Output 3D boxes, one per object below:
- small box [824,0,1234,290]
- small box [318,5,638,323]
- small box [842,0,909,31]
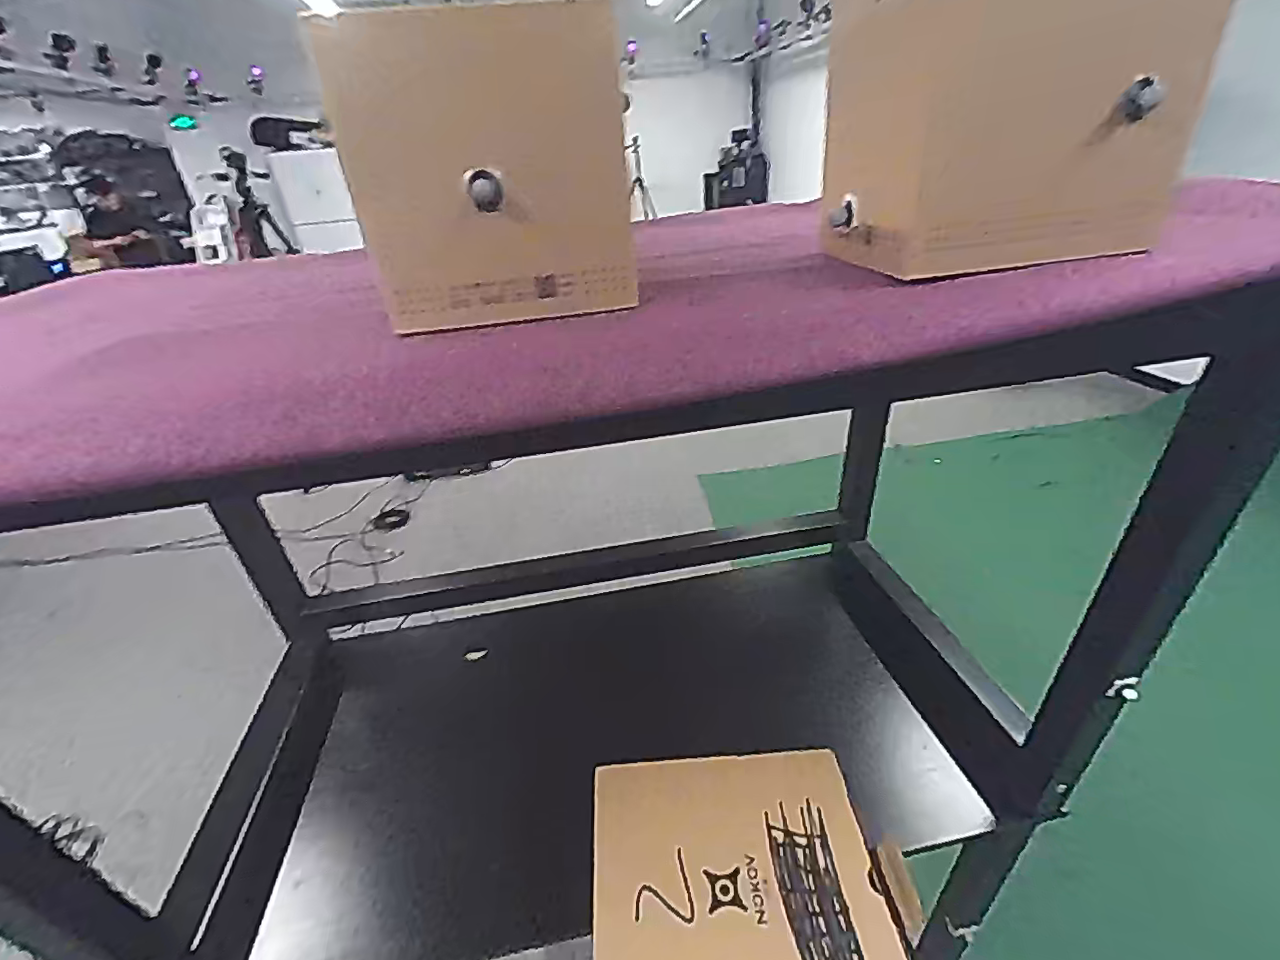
[{"bbox_3d":[0.253,-0.250,0.404,0.179,0.176,0.168,-8,29,-1],"label":"small box"},{"bbox_3d":[-0.097,-0.219,0.401,0.168,0.176,0.179,-7,31,-6],"label":"small box"},{"bbox_3d":[0.234,-0.394,0.330,0.179,0.176,0.168,-5,29,1],"label":"small box"}]
